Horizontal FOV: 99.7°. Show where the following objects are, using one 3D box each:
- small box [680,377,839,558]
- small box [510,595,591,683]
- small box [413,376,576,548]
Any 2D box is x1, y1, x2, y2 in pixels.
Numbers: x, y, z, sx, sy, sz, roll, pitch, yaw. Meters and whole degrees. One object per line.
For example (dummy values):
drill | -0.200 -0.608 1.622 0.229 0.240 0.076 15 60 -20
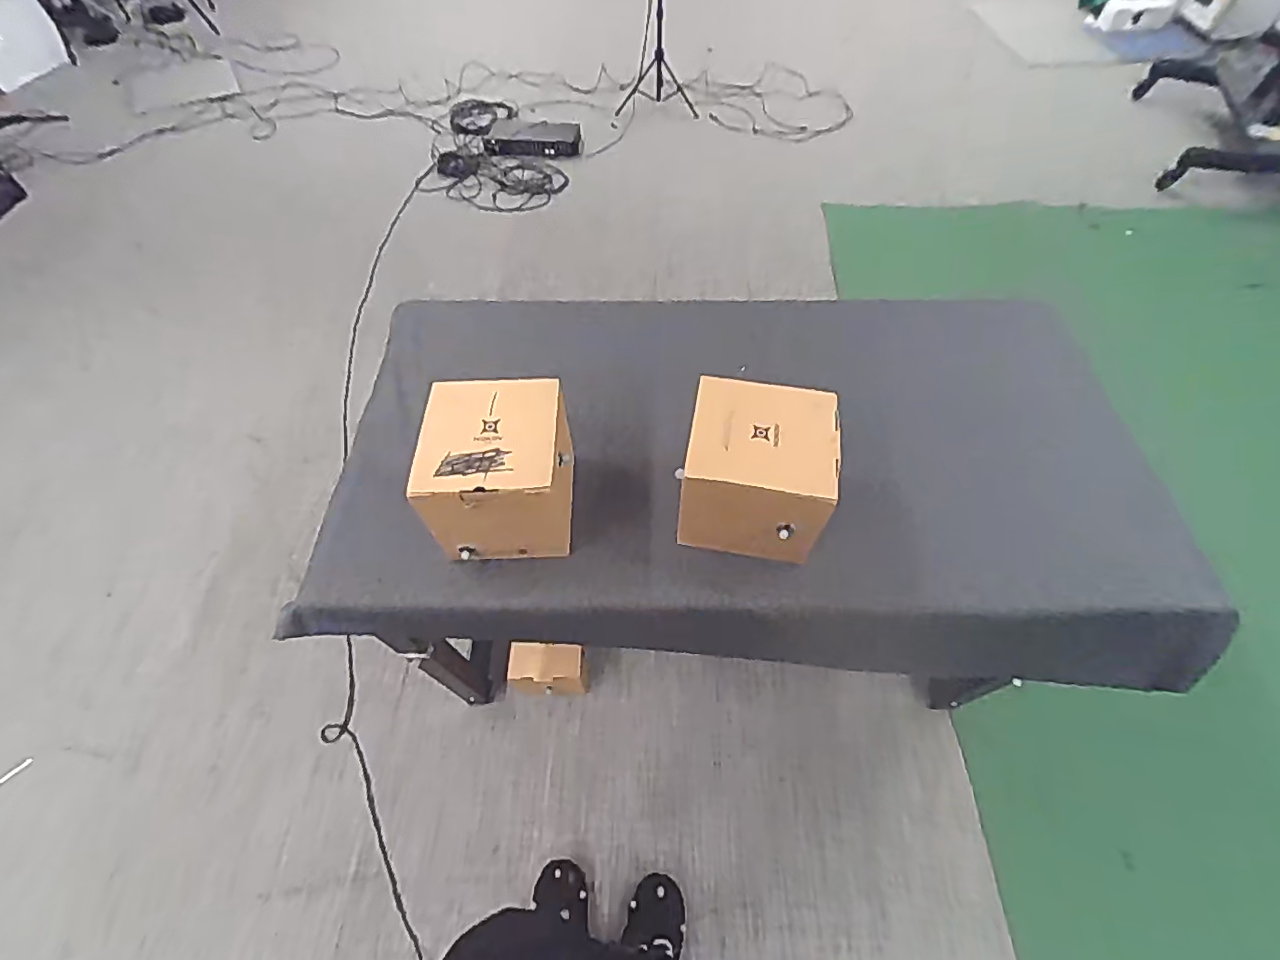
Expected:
small box | 0.153 -0.010 0.721 0.179 0.176 0.168 9 57 7
small box | -0.211 0.395 1.330 0.168 0.176 0.179 0 58 1
small box | -0.177 -0.017 0.725 0.168 0.176 0.179 -1 56 0
